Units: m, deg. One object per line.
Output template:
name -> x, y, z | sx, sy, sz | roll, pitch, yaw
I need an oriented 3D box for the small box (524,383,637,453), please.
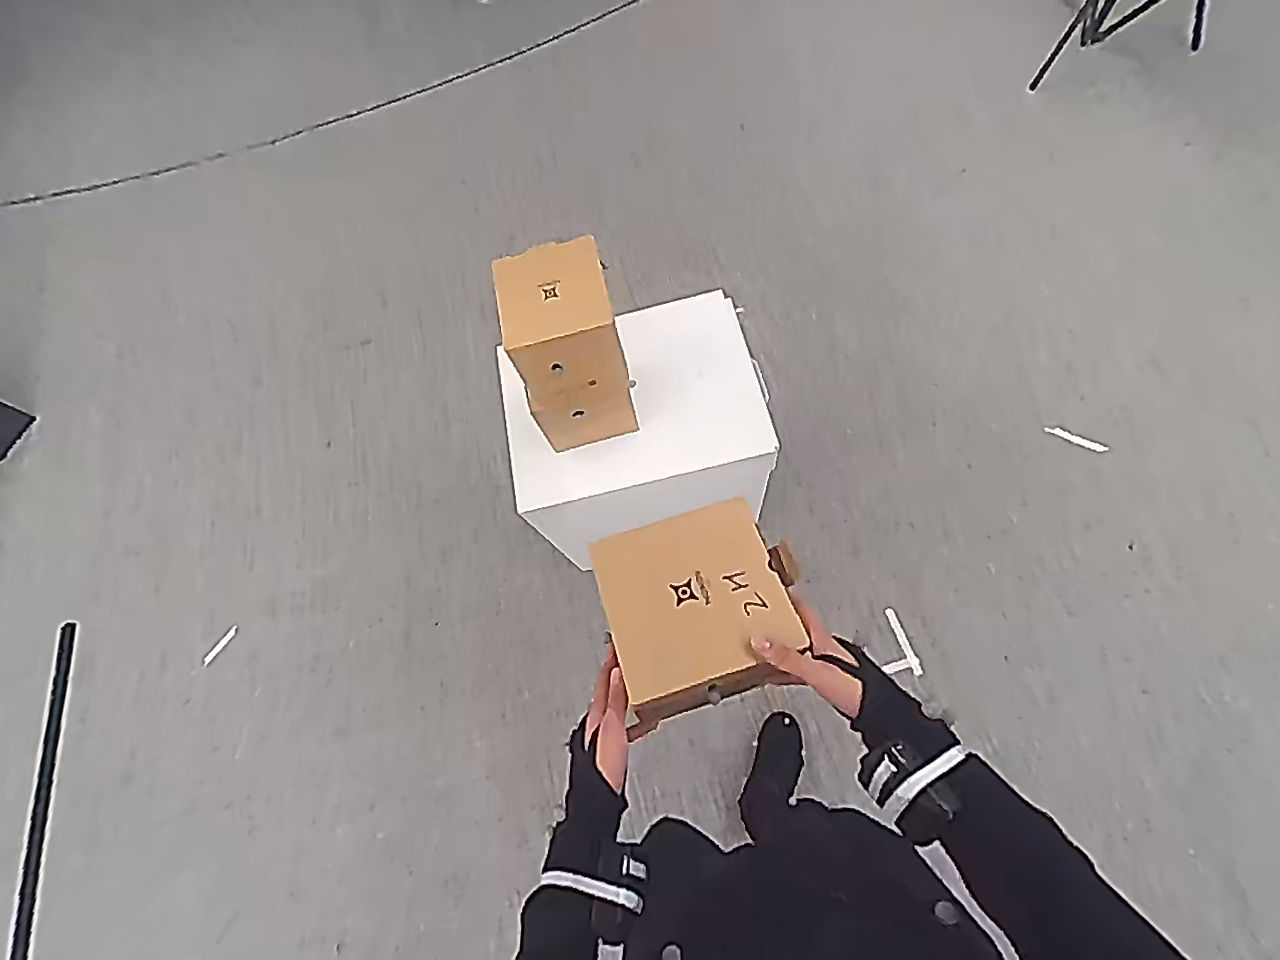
small box -> -0.115, -0.170, 1.030 | 0.179, 0.176, 0.168 | -15, 68, 0

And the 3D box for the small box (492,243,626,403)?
small box -> -0.126, -0.243, 0.884 | 0.168, 0.176, 0.179 | -14, 67, 1

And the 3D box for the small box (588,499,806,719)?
small box -> 0.056, 0.149, 0.599 | 0.179, 0.176, 0.168 | -16, 61, -6
